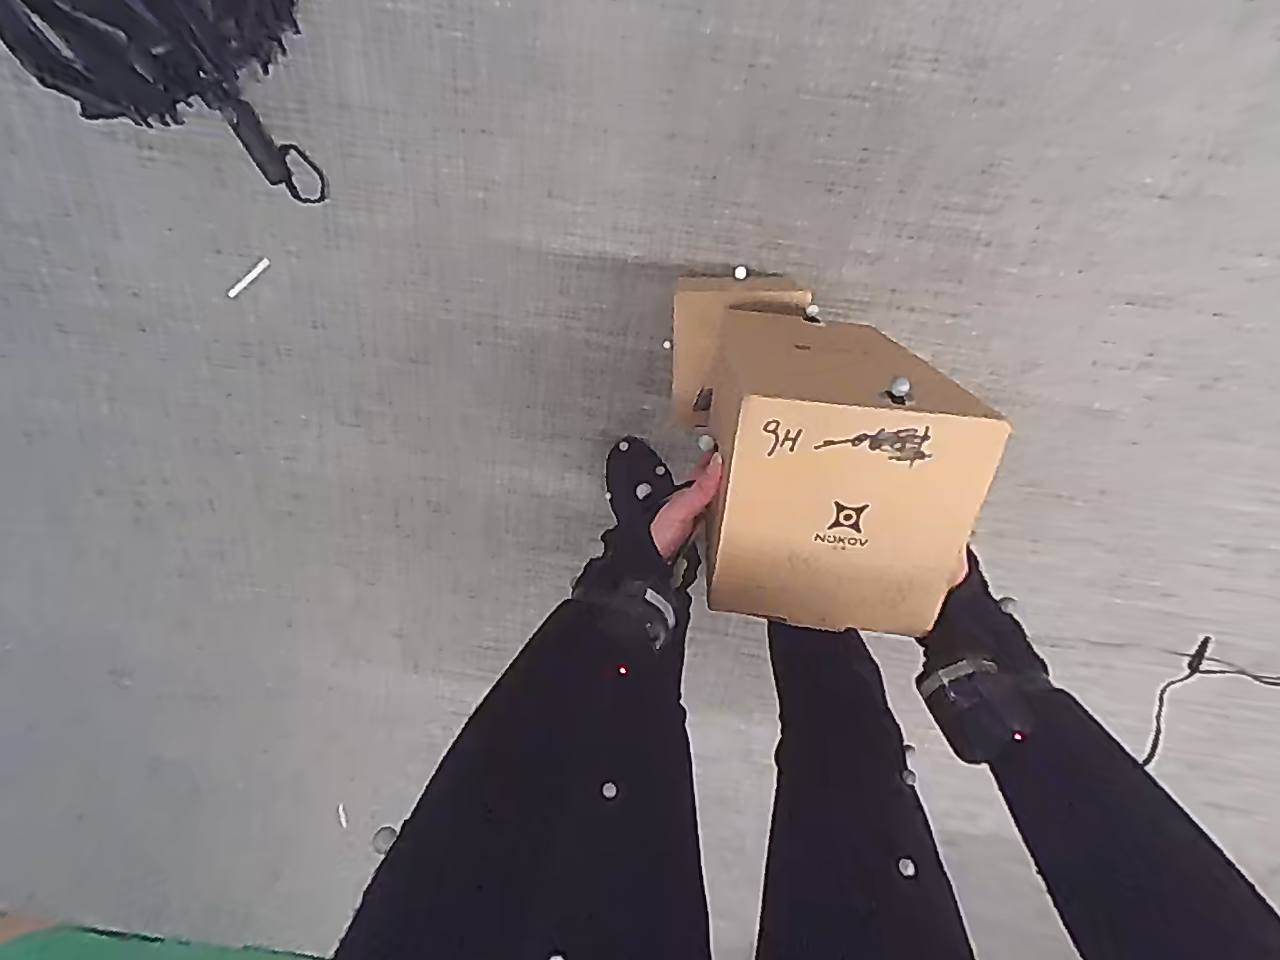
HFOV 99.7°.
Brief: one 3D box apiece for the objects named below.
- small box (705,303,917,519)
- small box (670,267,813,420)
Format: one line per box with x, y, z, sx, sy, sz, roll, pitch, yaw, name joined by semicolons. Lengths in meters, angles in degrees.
0.164;-0.082;0.582;0.168;0.176;0.179;6;116;4;small box
0.130;-0.192;0.747;0.168;0.176;0.179;2;117;4;small box
